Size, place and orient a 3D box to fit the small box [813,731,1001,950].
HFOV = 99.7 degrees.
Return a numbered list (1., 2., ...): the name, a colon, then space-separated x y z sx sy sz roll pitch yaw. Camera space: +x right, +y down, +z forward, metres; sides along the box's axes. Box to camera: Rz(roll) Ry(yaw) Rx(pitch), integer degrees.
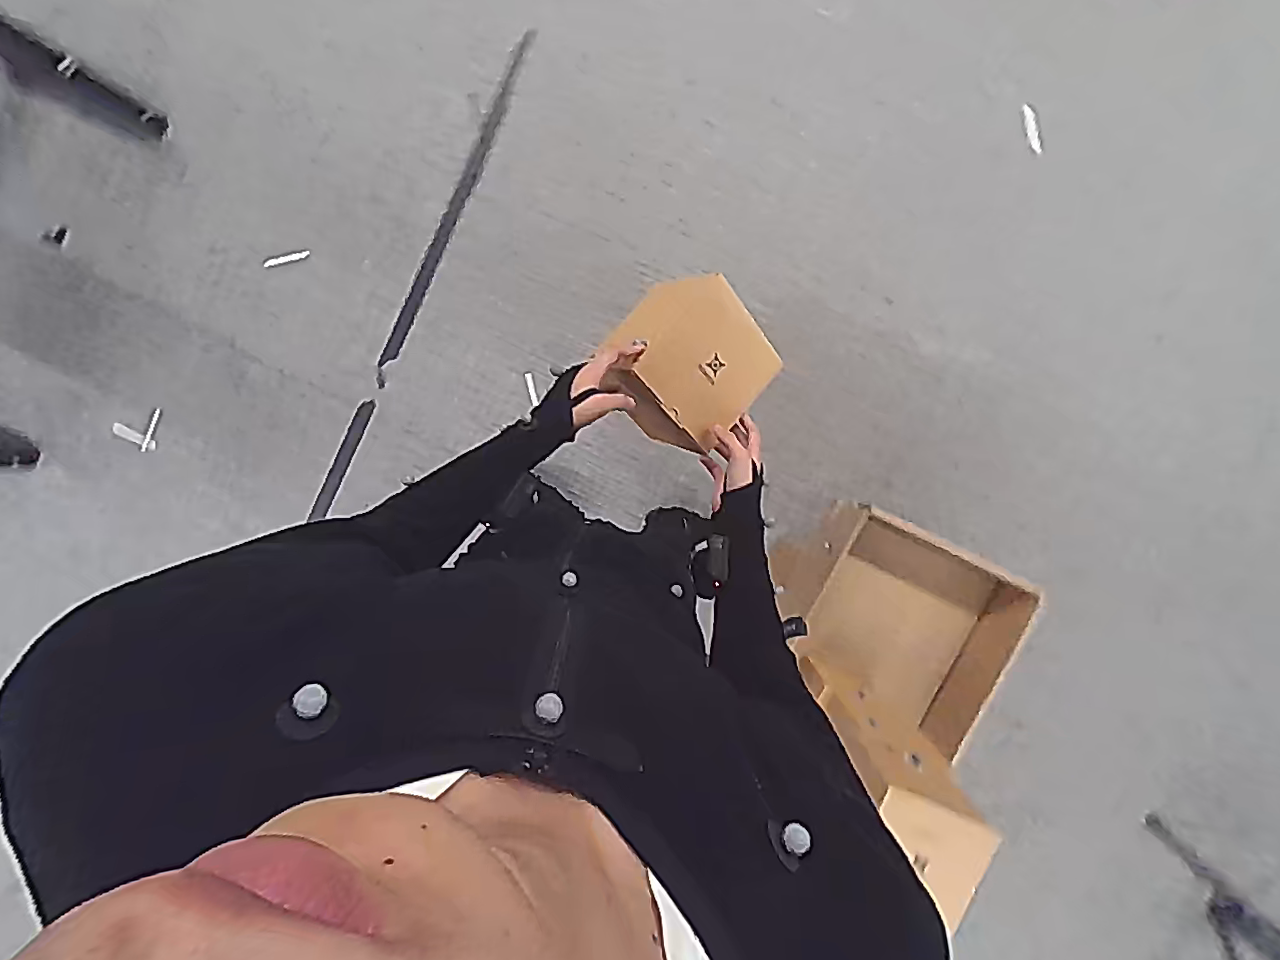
1. small box: 0.376 0.518 0.802 0.168 0.176 0.179 24 94 1
